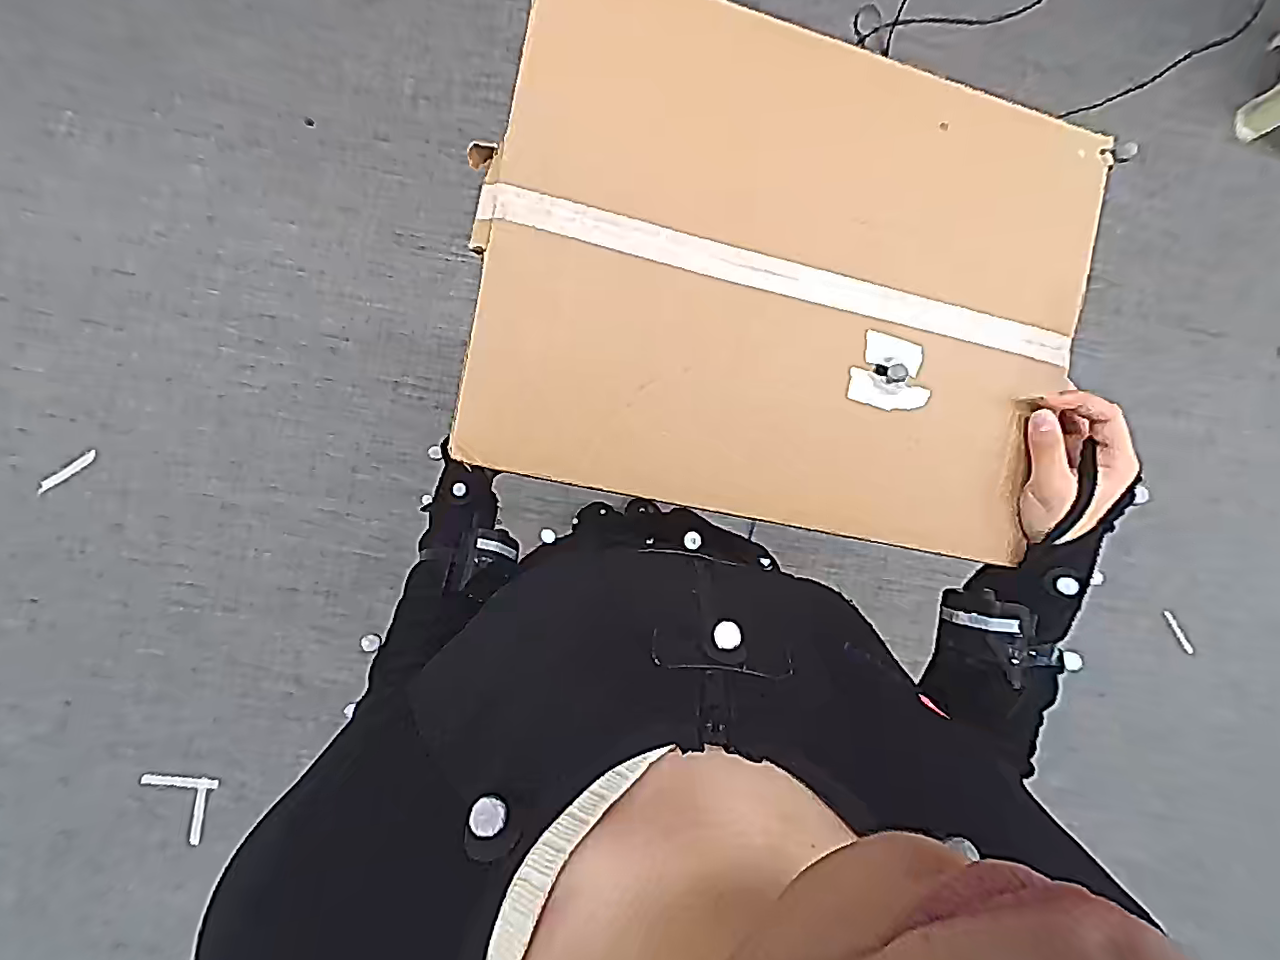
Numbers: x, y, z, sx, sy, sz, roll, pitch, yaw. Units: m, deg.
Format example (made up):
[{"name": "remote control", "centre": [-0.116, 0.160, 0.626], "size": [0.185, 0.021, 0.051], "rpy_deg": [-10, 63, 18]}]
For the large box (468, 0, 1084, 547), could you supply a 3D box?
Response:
[{"name": "large box", "centre": [0.082, -0.139, 0.509], "size": [0.408, 0.320, 0.320], "rpy_deg": [11, 92, -11]}]
